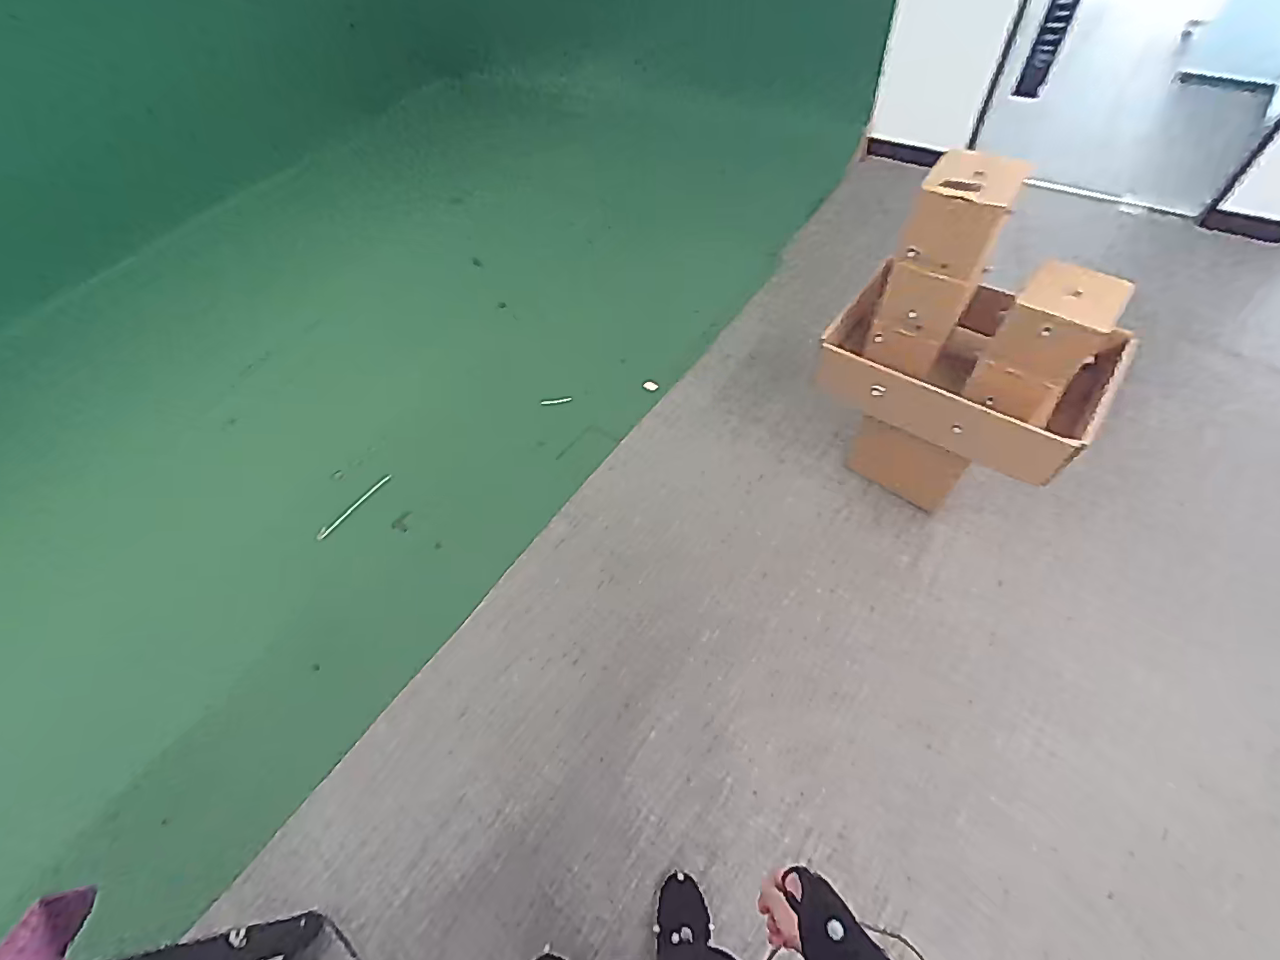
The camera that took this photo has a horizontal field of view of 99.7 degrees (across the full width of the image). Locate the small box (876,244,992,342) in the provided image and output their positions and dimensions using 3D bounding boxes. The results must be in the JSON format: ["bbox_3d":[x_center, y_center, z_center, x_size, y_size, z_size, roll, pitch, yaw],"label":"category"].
[{"bbox_3d":[0.687,-0.465,1.283,0.168,0.176,0.179,31,66,23],"label":"small box"}]

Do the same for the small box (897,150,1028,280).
[{"bbox_3d":[0.672,-0.559,1.149,0.168,0.176,0.179,30,65,22],"label":"small box"}]

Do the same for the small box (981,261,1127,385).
[{"bbox_3d":[0.891,-0.338,1.182,0.179,0.176,0.168,33,69,23],"label":"small box"}]
